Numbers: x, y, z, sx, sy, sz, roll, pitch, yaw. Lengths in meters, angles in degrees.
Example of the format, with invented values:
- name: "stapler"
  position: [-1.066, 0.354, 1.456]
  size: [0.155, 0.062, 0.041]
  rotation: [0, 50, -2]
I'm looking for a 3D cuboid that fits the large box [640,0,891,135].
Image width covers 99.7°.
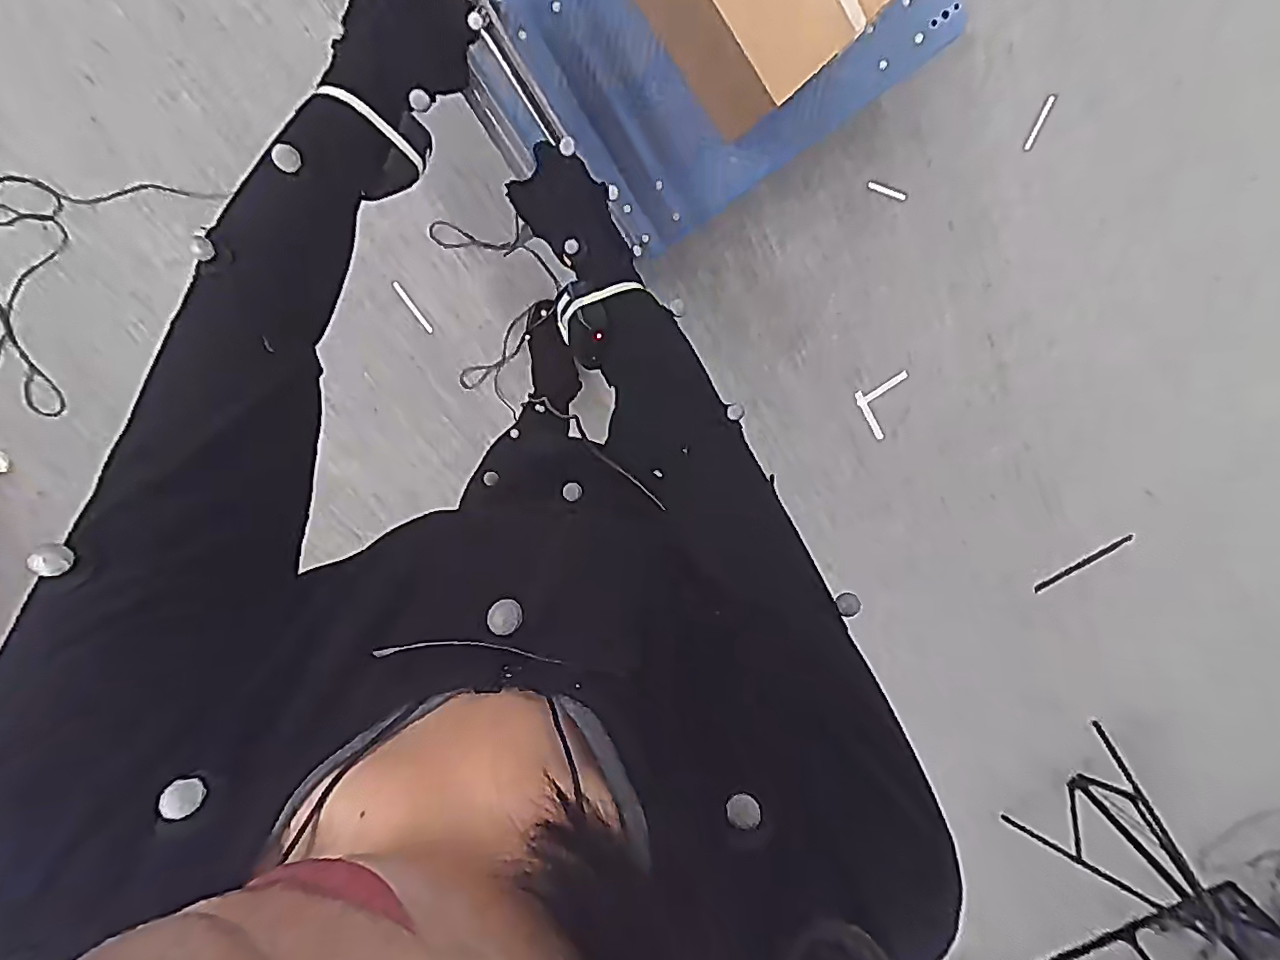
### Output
- name: "large box"
  position: [0.189, -0.877, 0.883]
  size: [0.320, 0.320, 0.408]
  rotation: [-40, 112, 11]
